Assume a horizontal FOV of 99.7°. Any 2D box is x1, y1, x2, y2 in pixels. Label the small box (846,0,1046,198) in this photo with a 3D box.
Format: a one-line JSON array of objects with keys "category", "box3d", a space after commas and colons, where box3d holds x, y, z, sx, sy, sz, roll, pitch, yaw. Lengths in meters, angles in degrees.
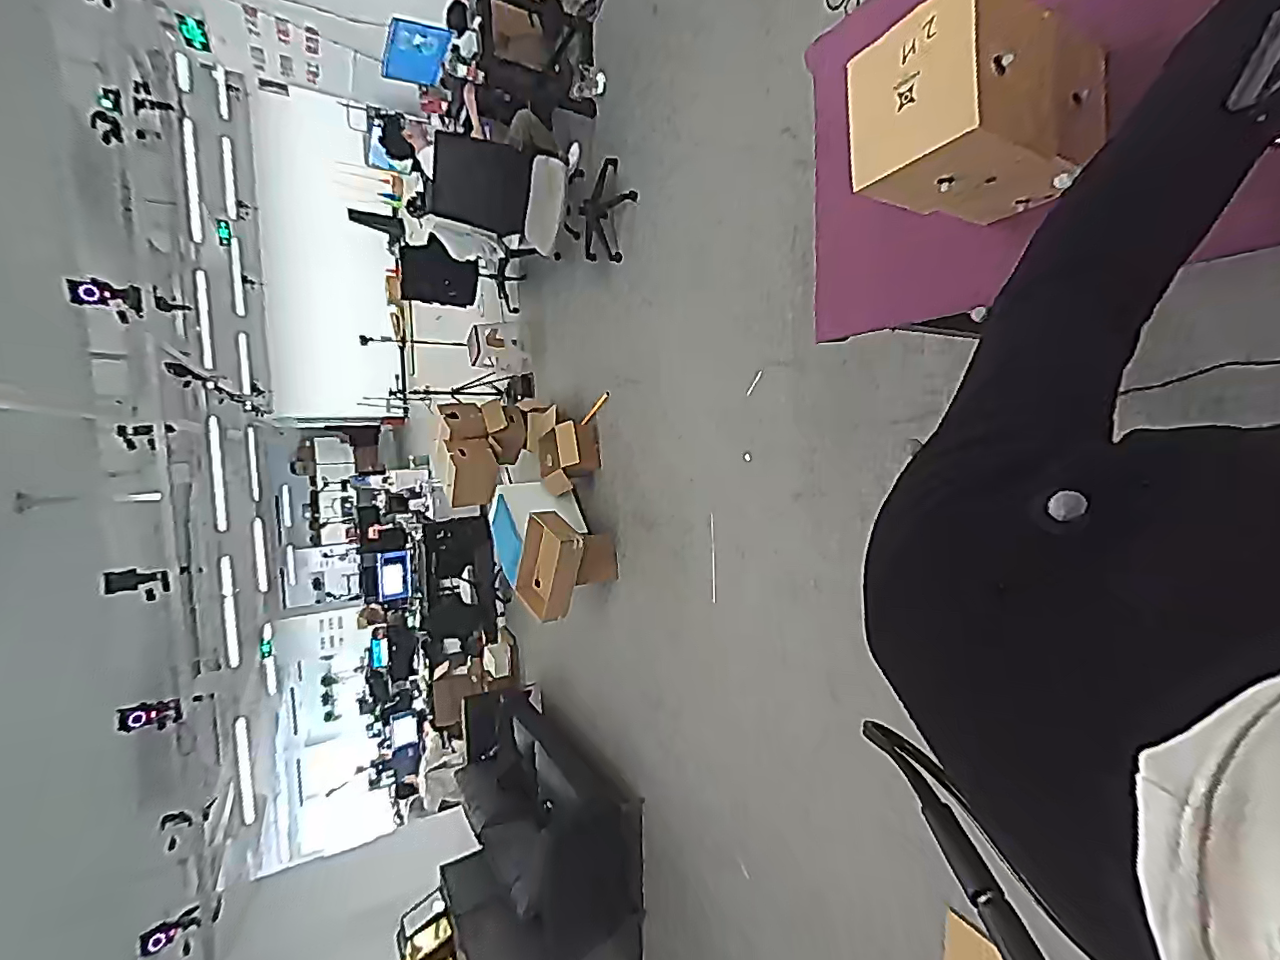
[{"category": "small box", "box3d": [0.391, -0.486, 0.695, 0.168, 0.176, 0.179, 2, 96, 59]}]
